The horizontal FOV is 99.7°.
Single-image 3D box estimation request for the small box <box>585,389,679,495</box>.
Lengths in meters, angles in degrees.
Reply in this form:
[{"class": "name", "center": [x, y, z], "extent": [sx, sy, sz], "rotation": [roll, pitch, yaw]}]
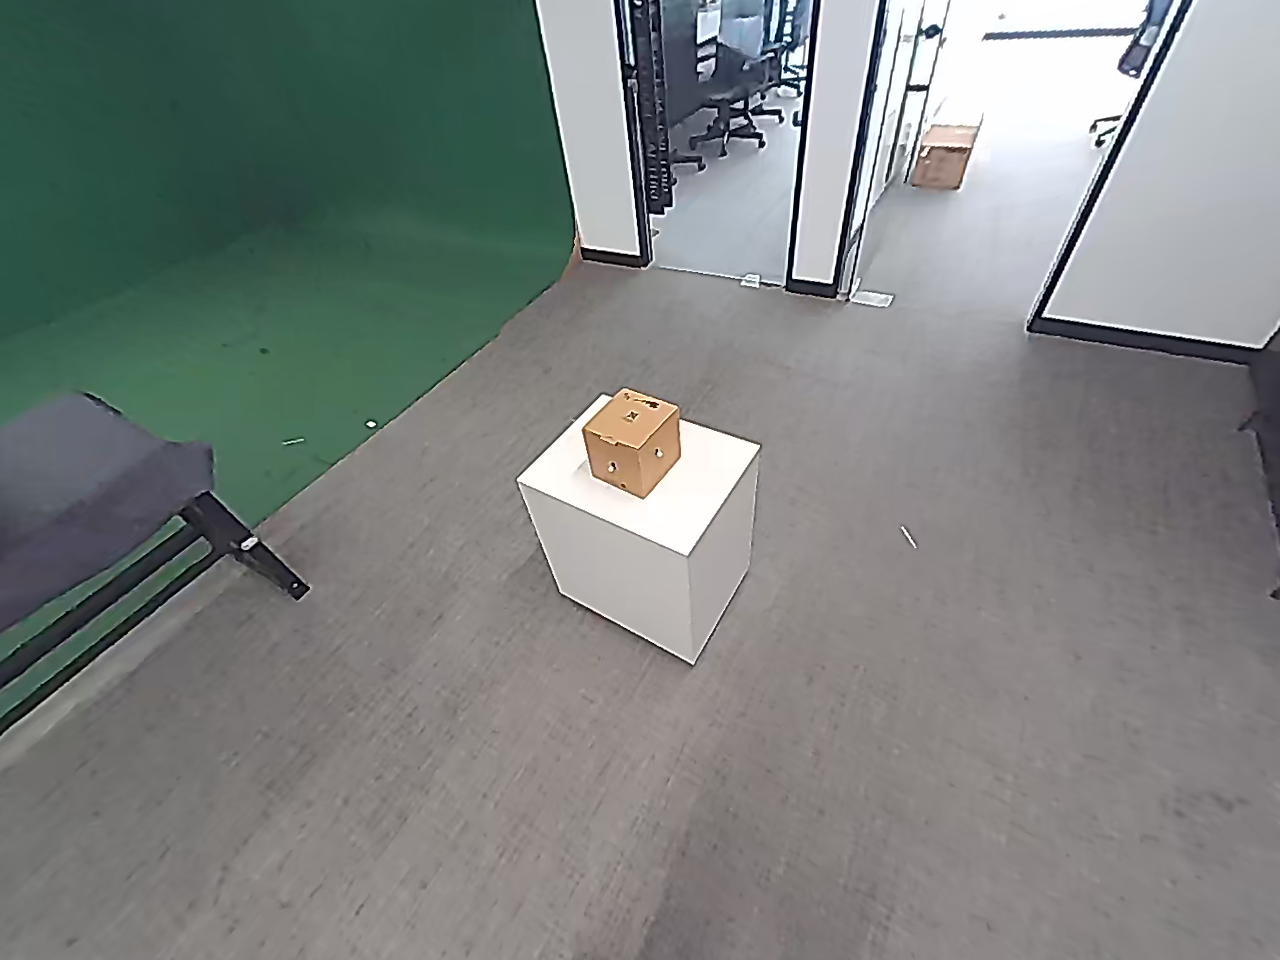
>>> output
[{"class": "small box", "center": [-0.010, -0.092, 1.338], "extent": [0.168, 0.176, 0.179], "rotation": [21, 52, 25]}]
